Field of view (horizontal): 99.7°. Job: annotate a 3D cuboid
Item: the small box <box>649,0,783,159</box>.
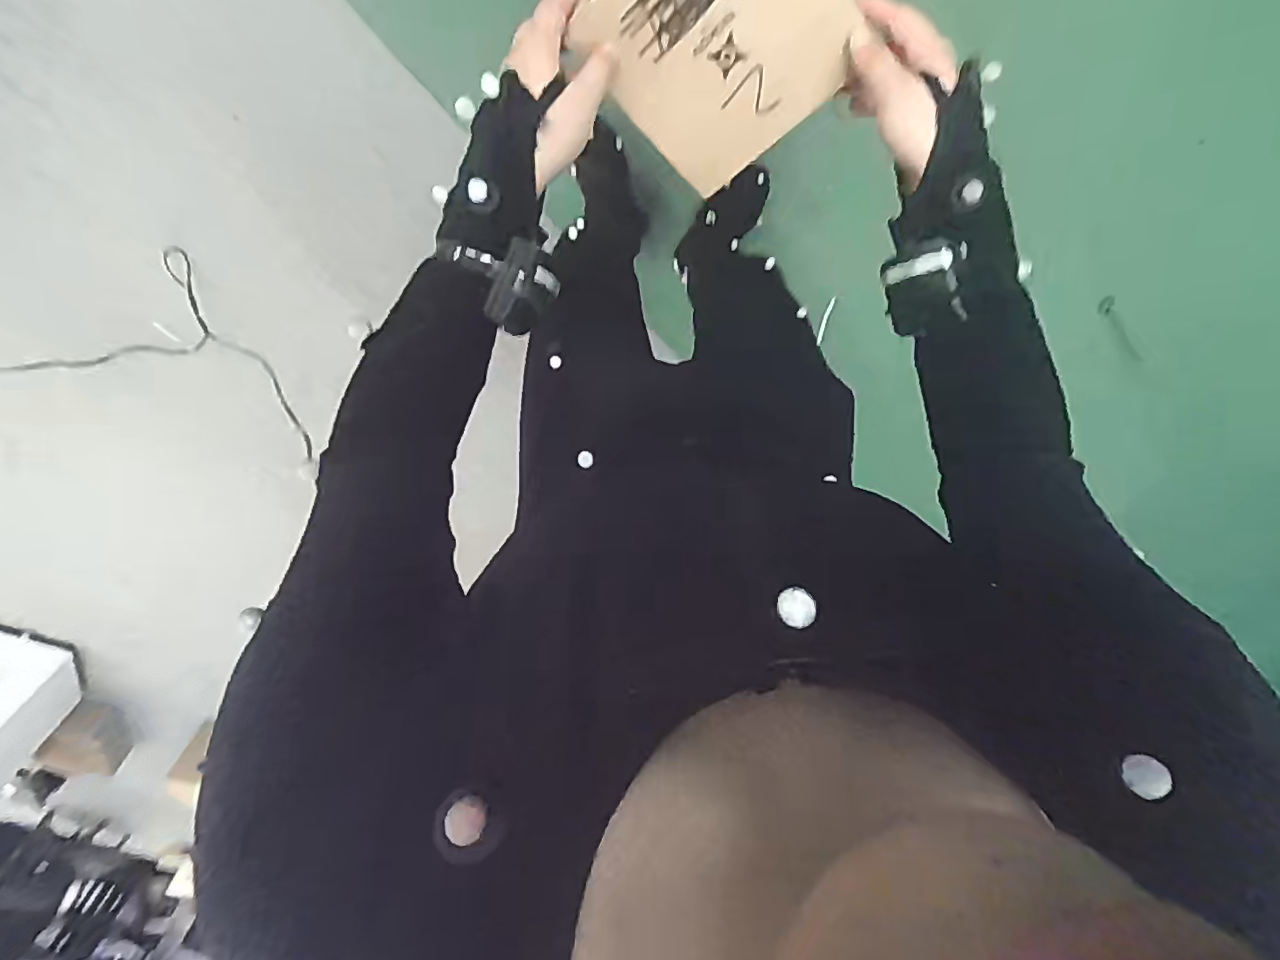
[{"bbox_3d":[0.135,-0.717,0.970,0.179,0.176,0.168,-26,124,23],"label":"small box"}]
